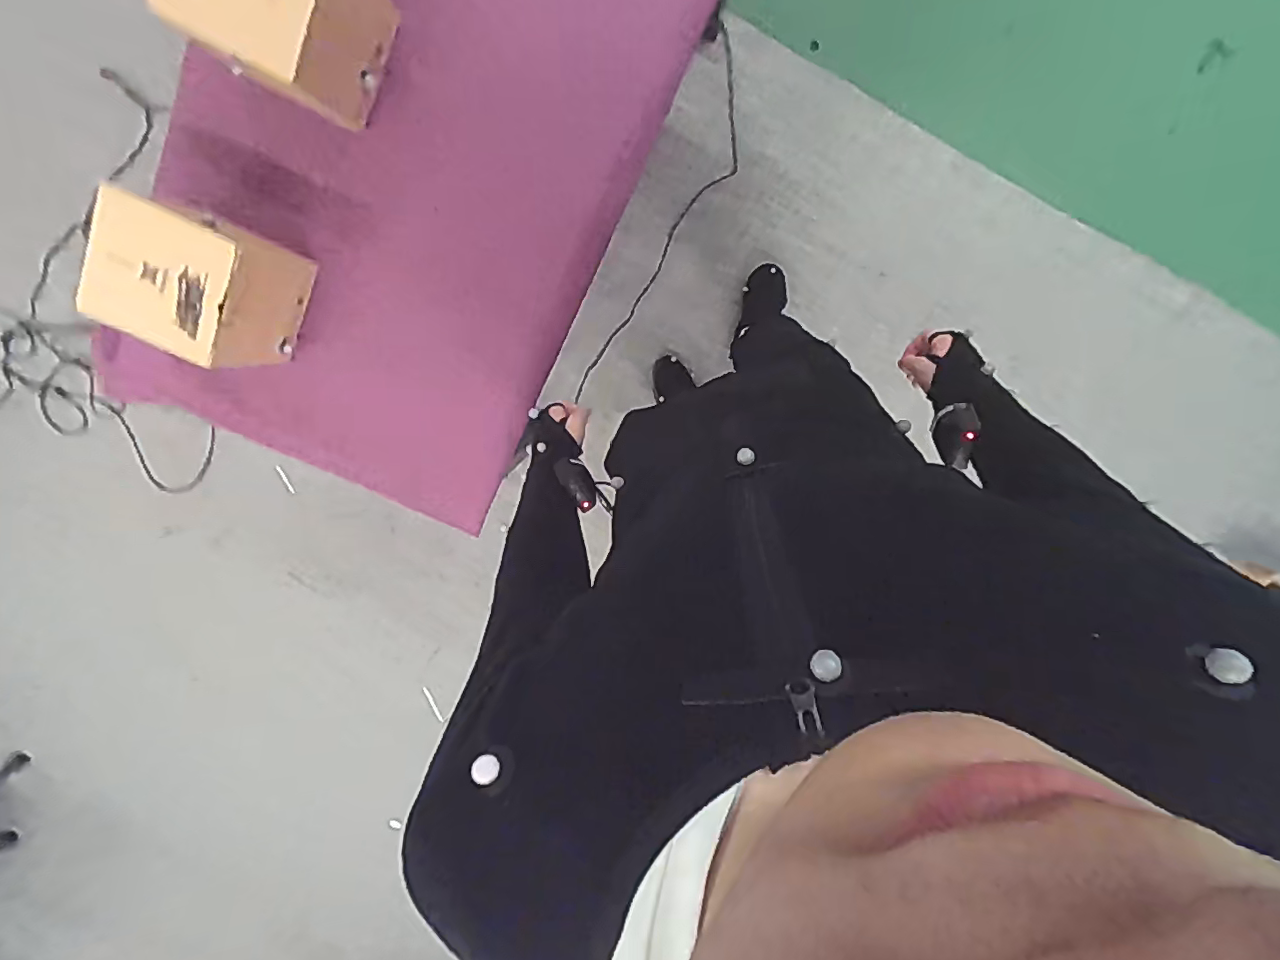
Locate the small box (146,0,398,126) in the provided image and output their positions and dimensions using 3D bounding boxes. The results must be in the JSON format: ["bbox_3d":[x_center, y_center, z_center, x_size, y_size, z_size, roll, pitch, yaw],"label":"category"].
[{"bbox_3d":[-0.442,-0.585,0.674,0.179,0.176,0.168,26,104,-6],"label":"small box"}]

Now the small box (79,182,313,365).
[{"bbox_3d":[-0.601,-0.275,0.754,0.179,0.176,0.168,25,103,-4],"label":"small box"}]
